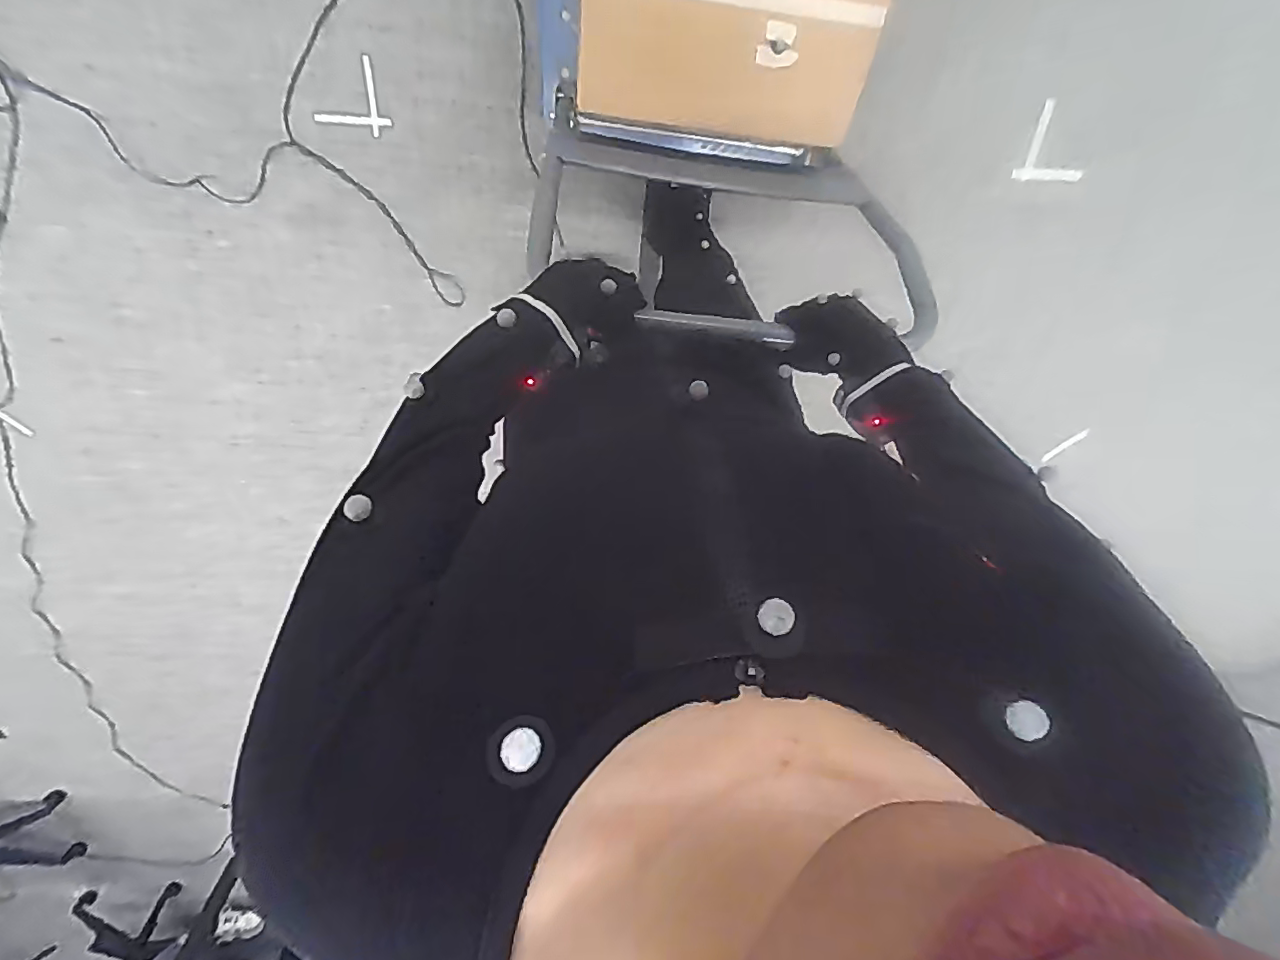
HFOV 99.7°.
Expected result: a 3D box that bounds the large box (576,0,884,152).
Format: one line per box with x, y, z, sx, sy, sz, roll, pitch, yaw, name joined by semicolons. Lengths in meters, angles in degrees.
0.110;-0.722;0.807;0.408;0.320;0.320;3;135;-7;large box
